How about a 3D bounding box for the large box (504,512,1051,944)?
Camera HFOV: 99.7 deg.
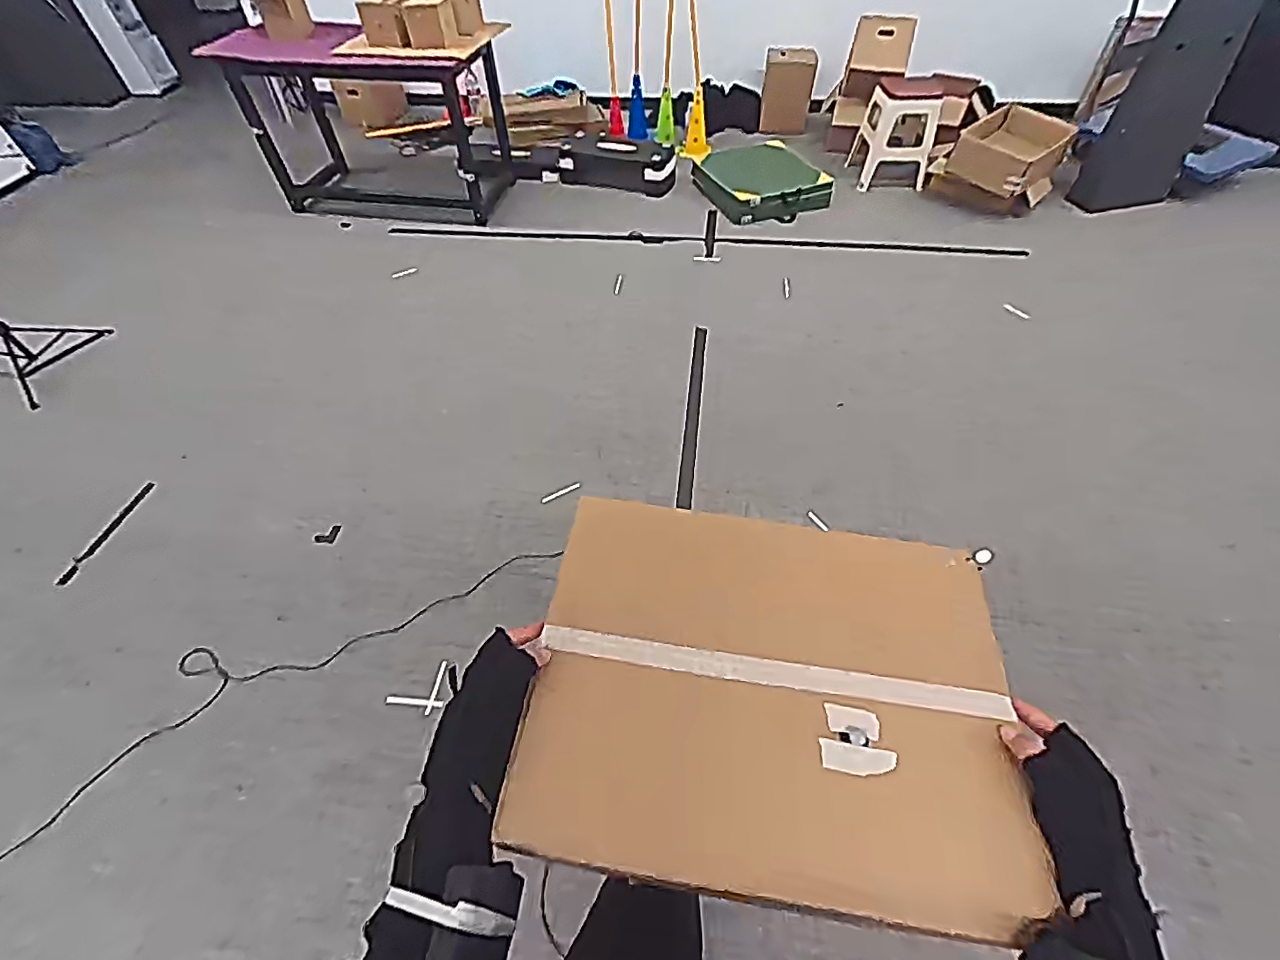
[{"bbox_3d":[0.107,0.267,0.595,0.408,0.320,0.320,8,54,4],"label":"large box"}]
